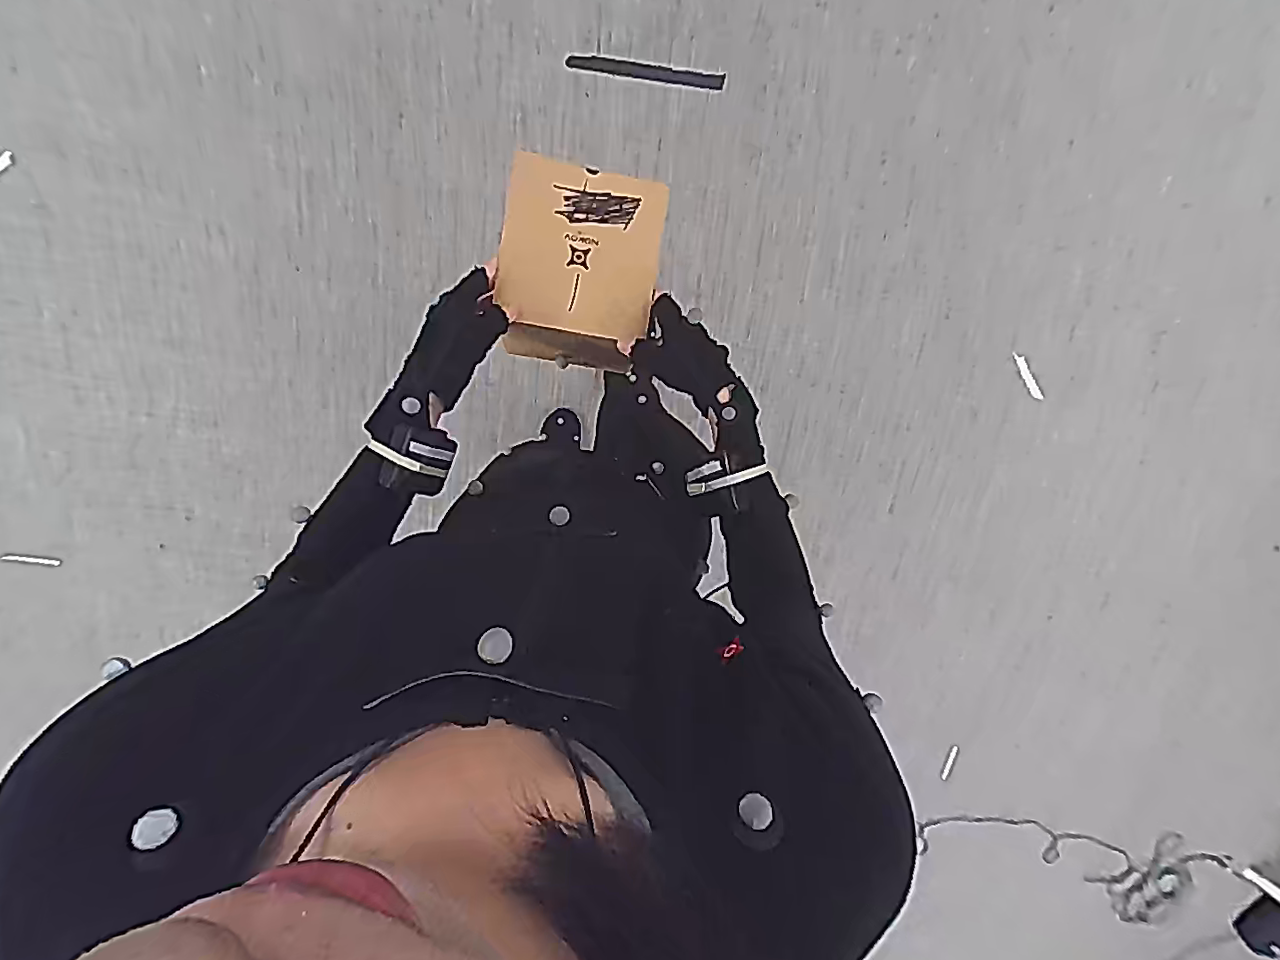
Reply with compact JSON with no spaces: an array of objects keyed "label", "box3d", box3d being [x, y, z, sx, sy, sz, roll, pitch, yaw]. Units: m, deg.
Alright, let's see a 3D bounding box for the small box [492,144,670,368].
[{"label":"small box","box3d":[-0.070,-0.246,0.638,0.168,0.176,0.179,8,90,-8]}]
